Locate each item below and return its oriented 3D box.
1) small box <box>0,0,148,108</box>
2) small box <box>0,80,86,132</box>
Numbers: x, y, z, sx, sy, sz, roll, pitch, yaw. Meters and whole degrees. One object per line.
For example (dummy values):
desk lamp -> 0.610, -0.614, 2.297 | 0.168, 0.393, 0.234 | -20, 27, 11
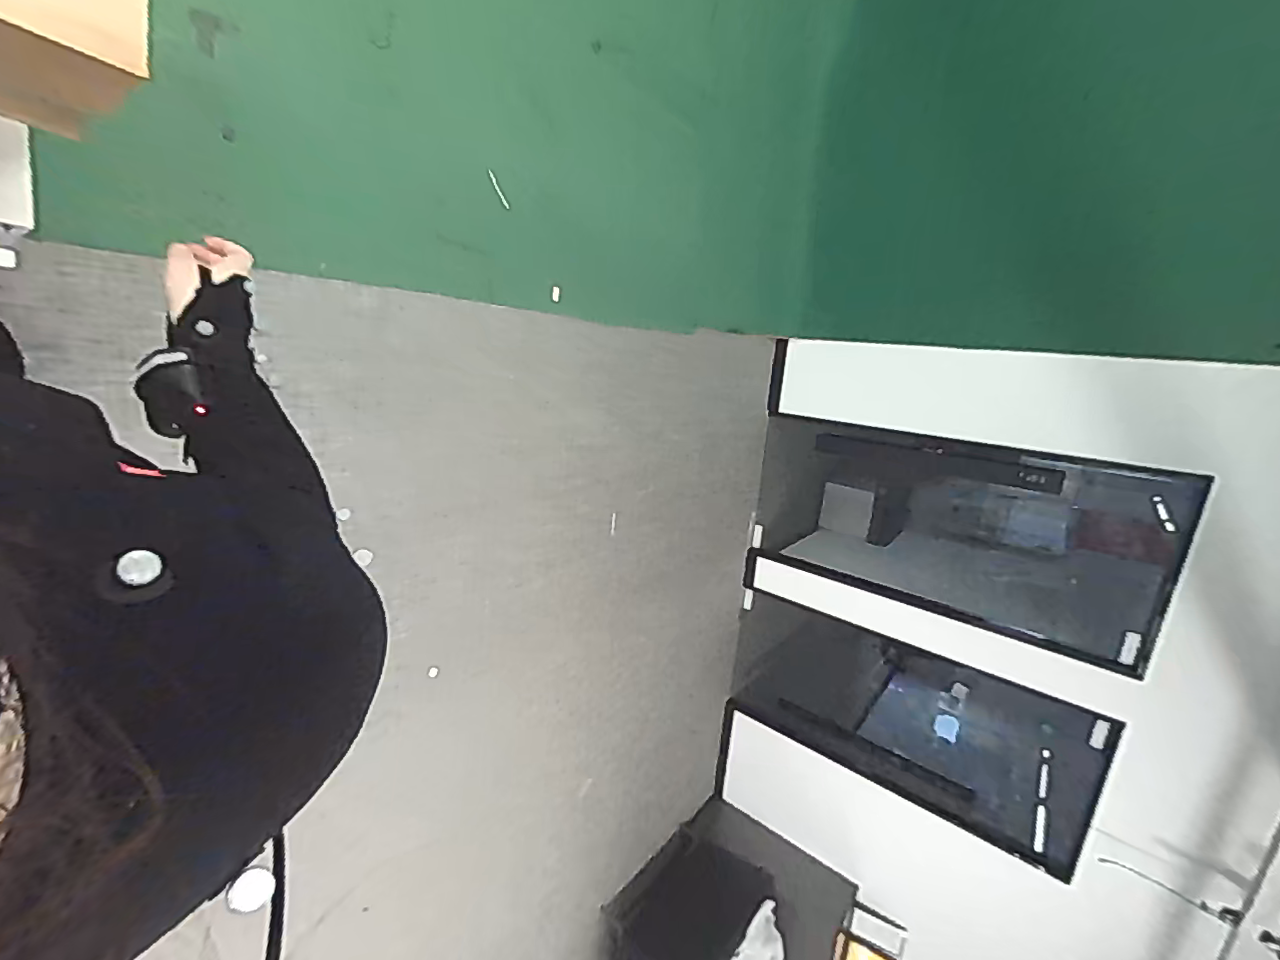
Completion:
small box -> -0.471, -0.392, 0.372 | 0.179, 0.176, 0.168 | -2, 105, -52
small box -> -0.600, -0.432, 0.465 | 0.179, 0.176, 0.168 | -2, 105, -52
